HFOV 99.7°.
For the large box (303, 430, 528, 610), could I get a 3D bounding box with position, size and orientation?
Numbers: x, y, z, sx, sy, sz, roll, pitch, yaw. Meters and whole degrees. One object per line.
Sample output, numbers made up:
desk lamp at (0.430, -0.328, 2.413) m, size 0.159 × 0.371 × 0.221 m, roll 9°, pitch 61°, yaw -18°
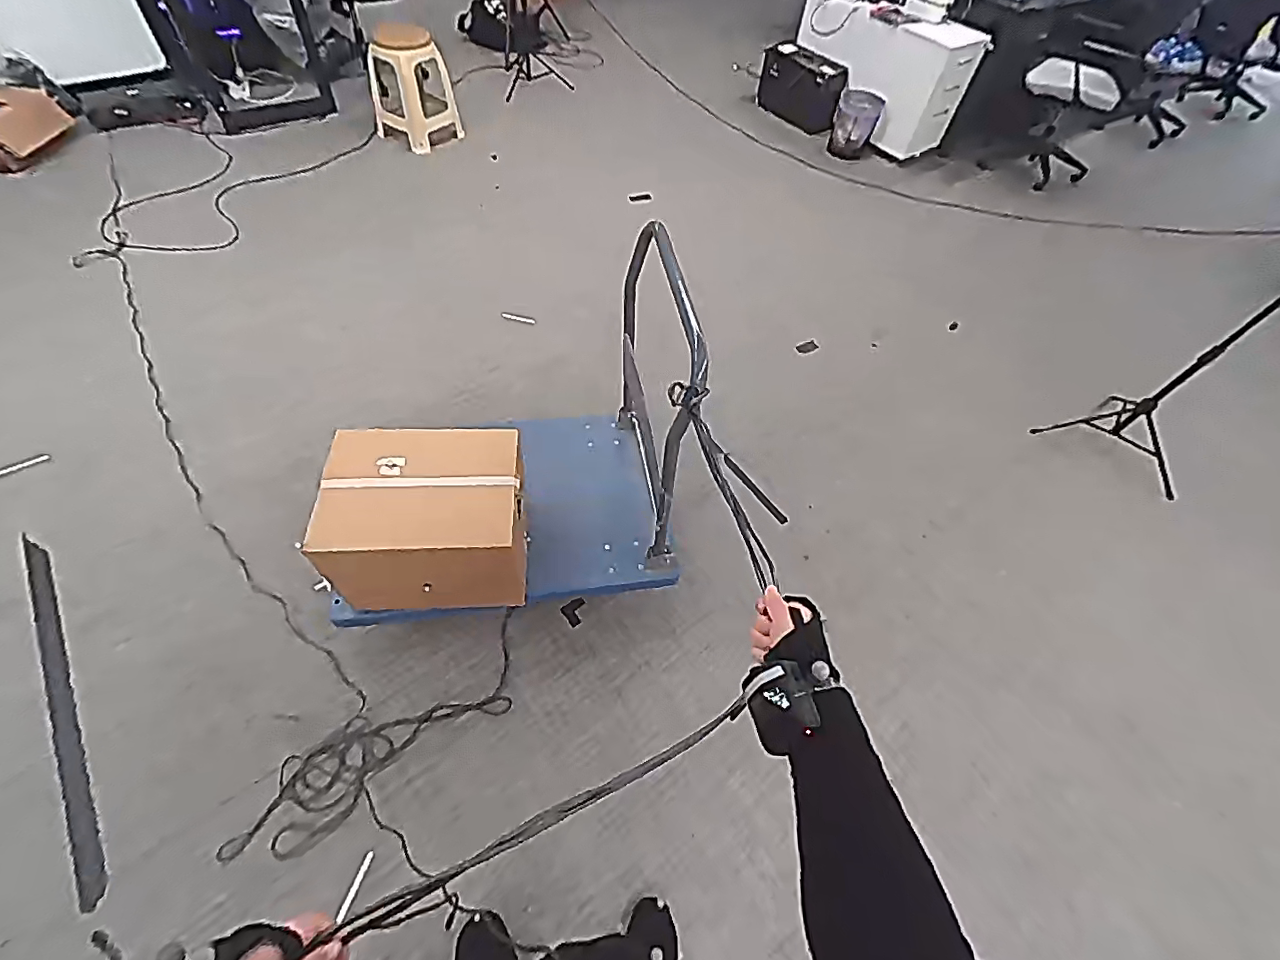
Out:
large box at (-0.478, 0.098, 1.270) m, size 0.408 × 0.320 × 0.320 m, roll -1°, pitch 55°, yaw -6°
